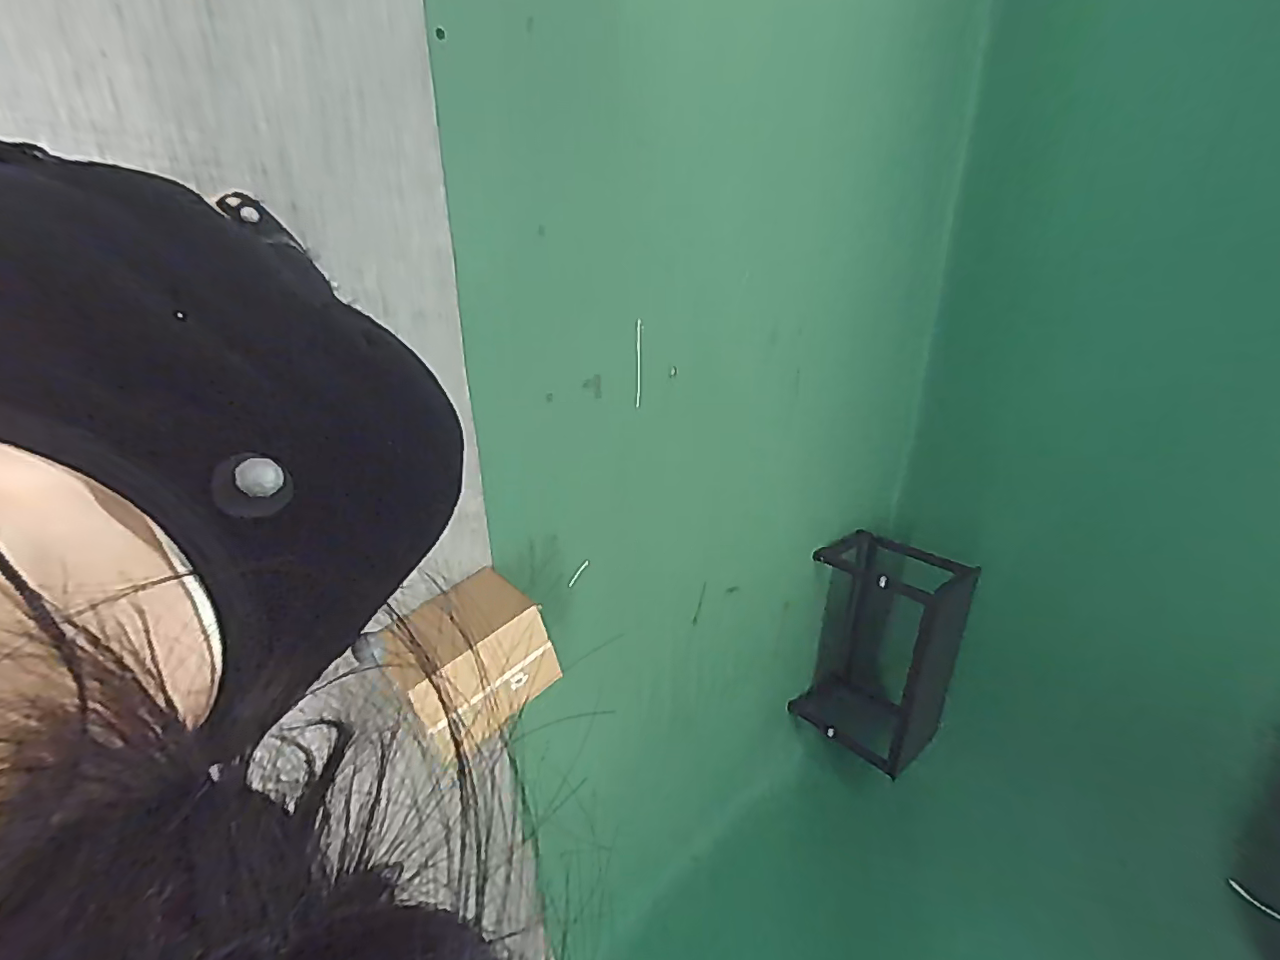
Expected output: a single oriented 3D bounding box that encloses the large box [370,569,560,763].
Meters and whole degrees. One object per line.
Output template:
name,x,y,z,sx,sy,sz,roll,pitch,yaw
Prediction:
large box,-0.523,0.542,1.648,0.408,0.320,0.320,-33,126,-32
